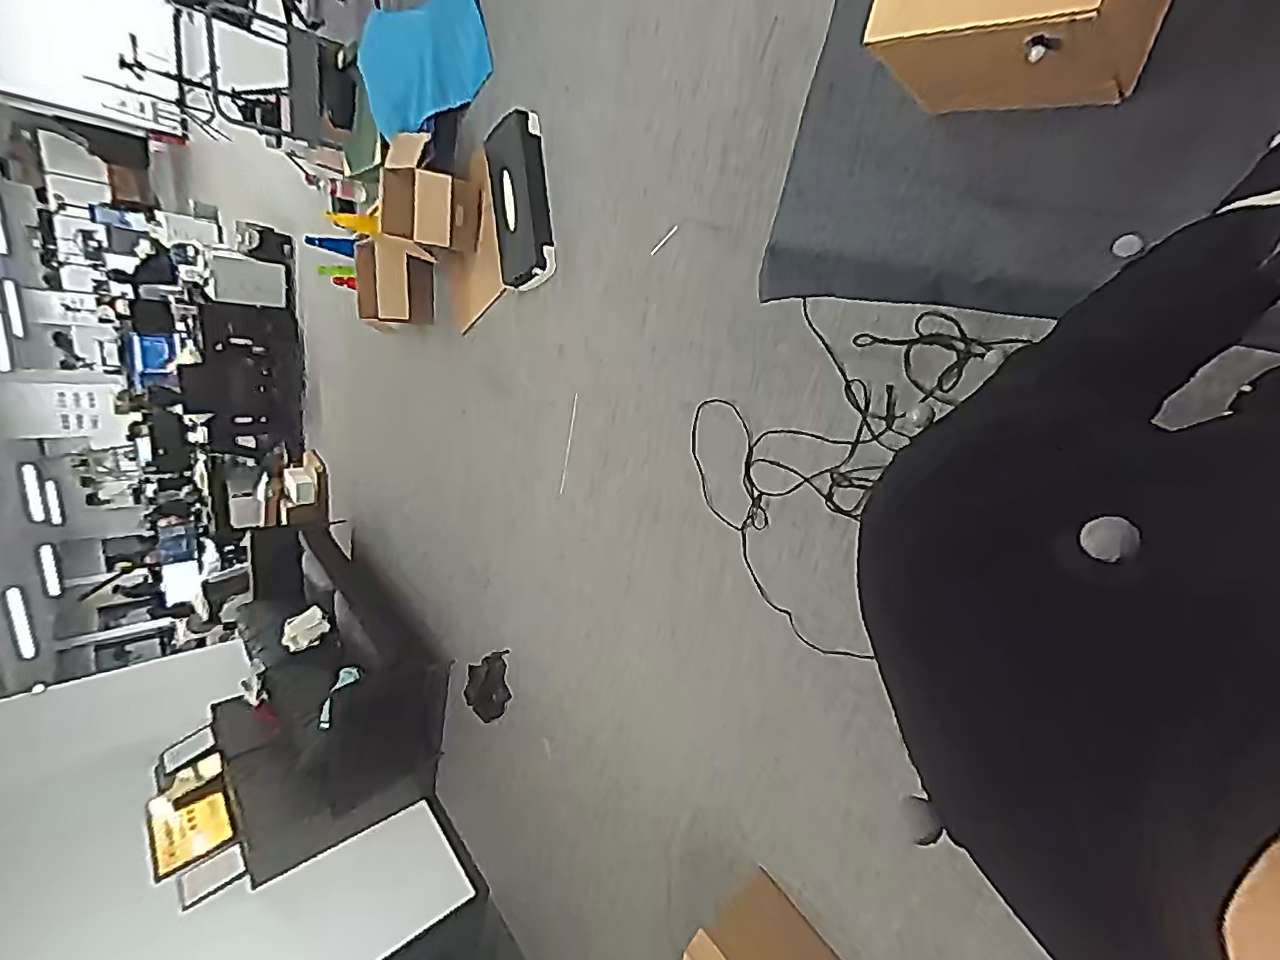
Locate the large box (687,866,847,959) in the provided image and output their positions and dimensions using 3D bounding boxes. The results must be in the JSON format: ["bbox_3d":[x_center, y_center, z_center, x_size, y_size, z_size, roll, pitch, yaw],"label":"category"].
[{"bbox_3d":[0.403,1.532,1.659,0.408,0.320,0.320,37,121,38],"label":"large box"}]

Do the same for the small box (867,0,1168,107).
[{"bbox_3d":[0.329,-0.435,0.449,0.179,0.176,0.168,29,116,39],"label":"small box"}]
